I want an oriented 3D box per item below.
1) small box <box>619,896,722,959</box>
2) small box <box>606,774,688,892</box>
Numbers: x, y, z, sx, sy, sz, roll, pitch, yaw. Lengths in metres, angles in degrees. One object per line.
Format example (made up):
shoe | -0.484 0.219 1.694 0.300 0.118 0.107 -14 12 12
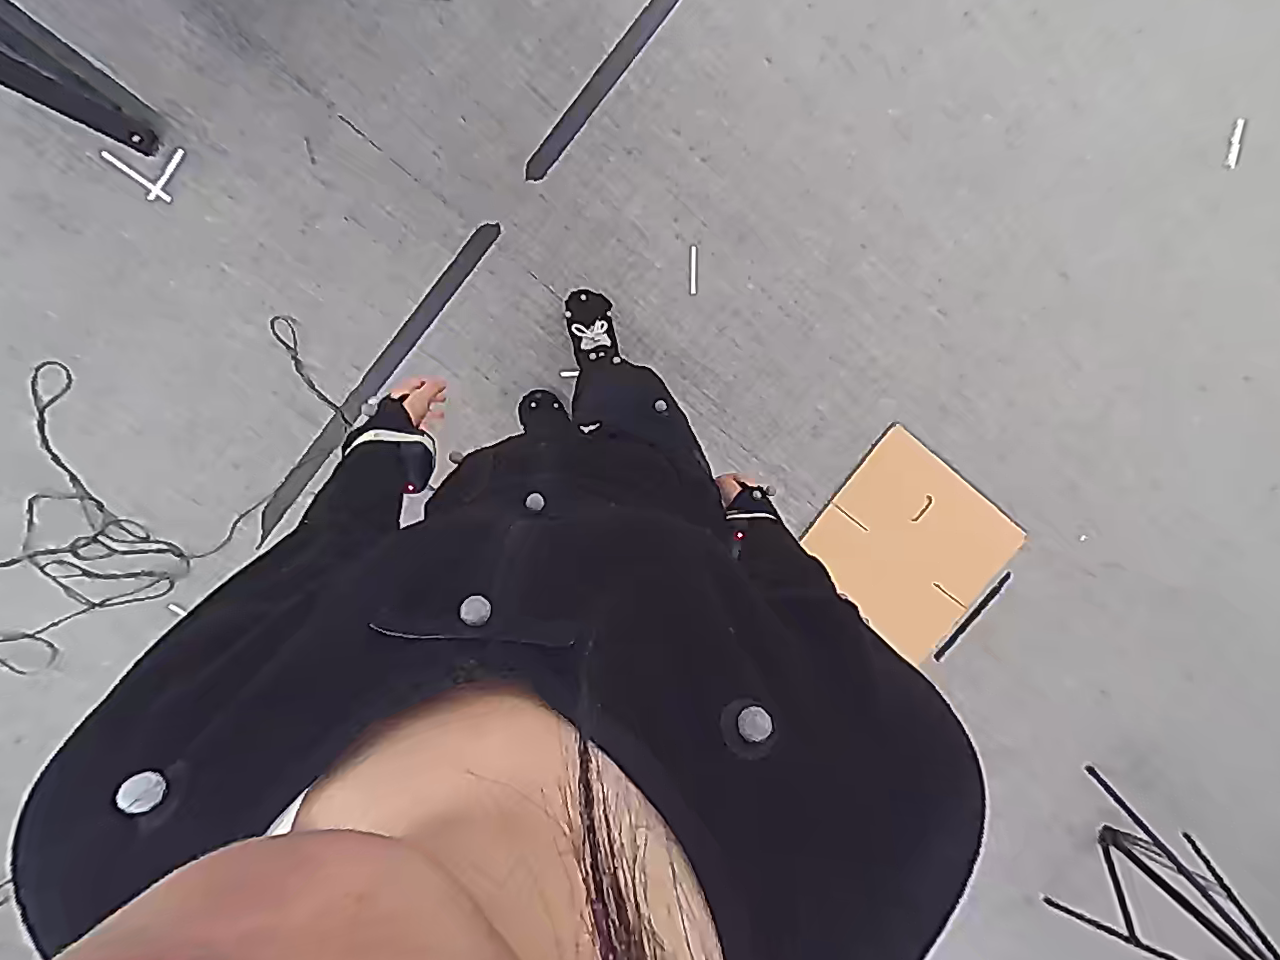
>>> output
small box | 0.052 0.899 0.974 0.179 0.176 0.168 -2 103 -6
small box | 0.013 0.834 1.295 0.179 0.176 0.168 -3 102 -5
